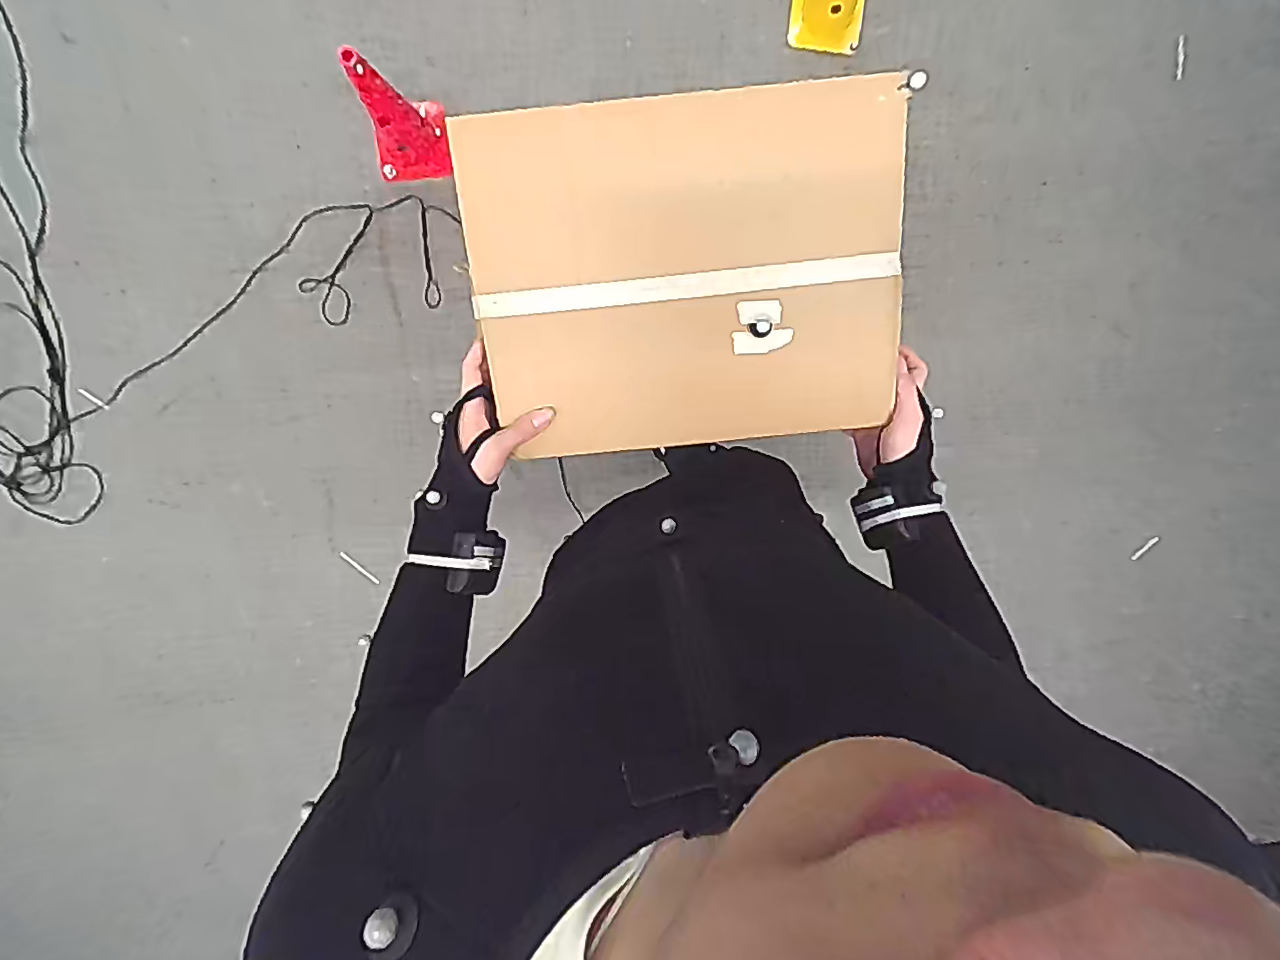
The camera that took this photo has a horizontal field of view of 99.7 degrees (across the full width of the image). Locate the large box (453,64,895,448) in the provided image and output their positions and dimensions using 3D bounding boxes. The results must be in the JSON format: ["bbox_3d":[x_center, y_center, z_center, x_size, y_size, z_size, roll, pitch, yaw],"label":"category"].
[{"bbox_3d":[0.039,-0.243,0.664,0.408,0.320,0.320,-6,108,0],"label":"large box"}]
